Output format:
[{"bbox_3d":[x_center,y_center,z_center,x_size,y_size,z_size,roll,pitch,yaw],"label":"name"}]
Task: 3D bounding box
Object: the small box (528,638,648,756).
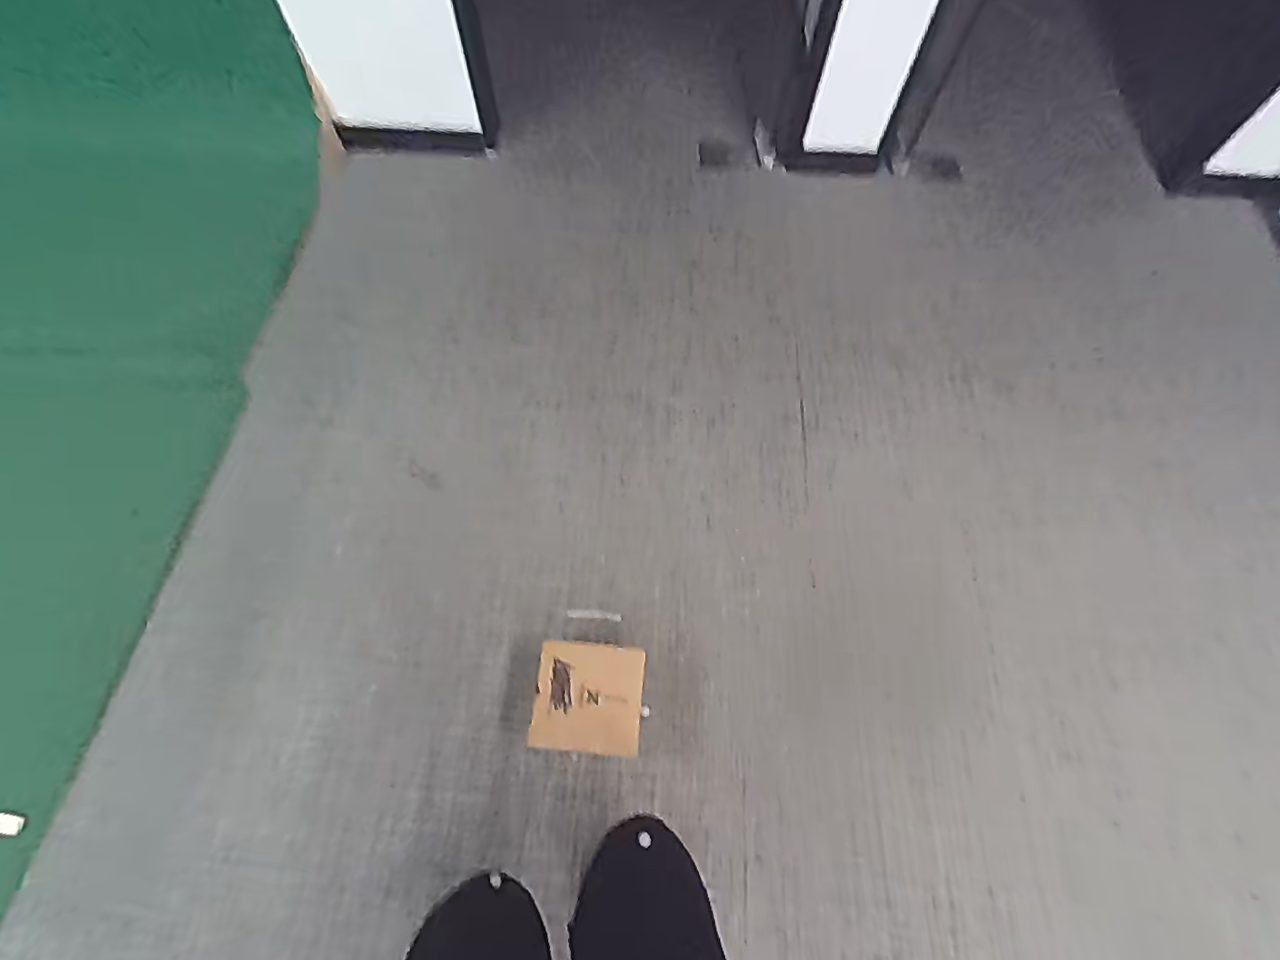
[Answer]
[{"bbox_3d":[-0.081,0.386,0.951,0.179,0.176,0.168,6,64,2],"label":"small box"}]
